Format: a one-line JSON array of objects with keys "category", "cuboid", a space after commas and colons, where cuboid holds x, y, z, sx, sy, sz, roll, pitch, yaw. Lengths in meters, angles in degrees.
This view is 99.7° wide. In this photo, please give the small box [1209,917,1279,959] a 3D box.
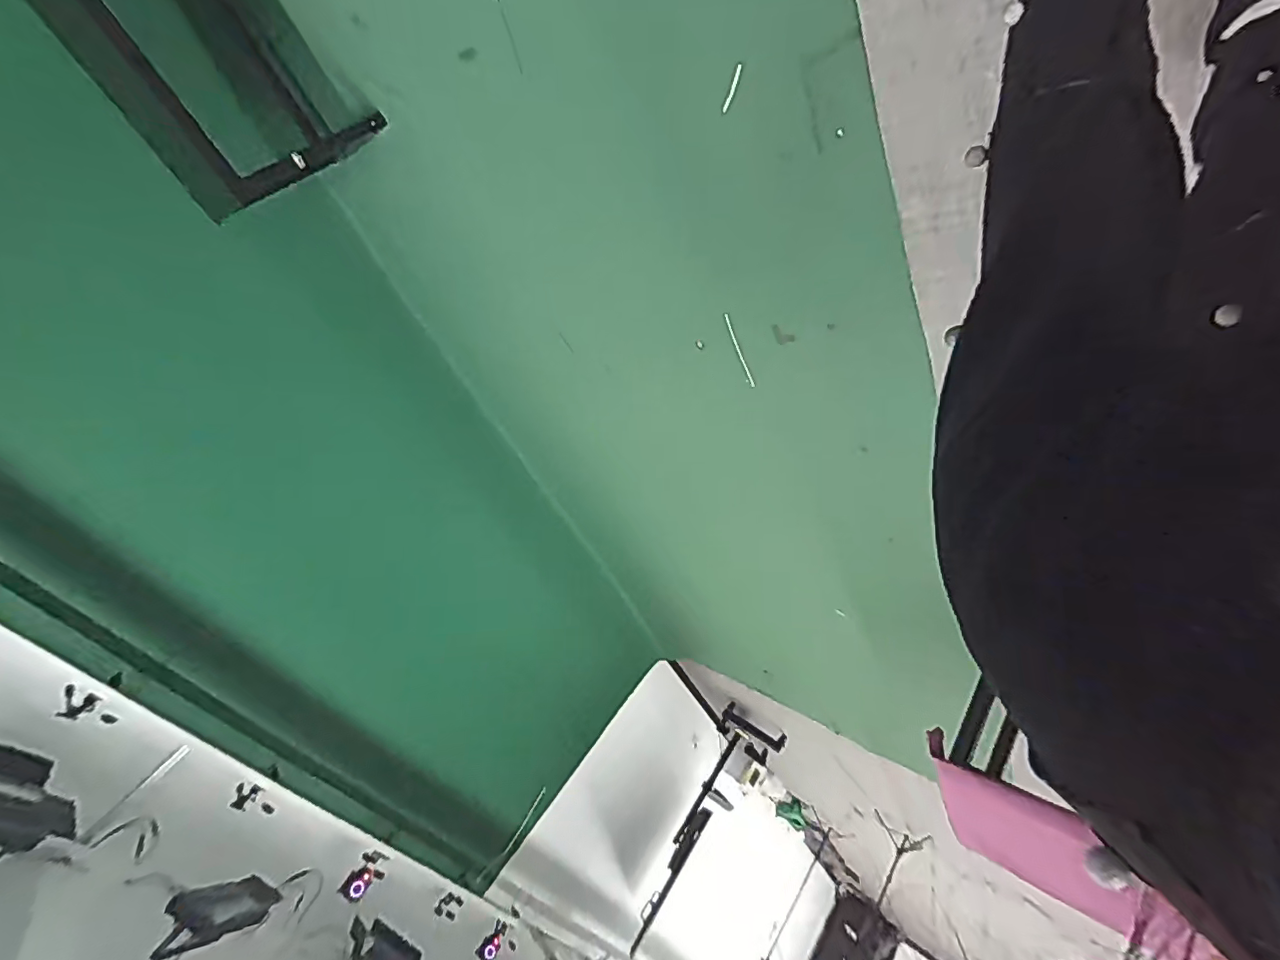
[{"category": "small box", "cuboid": [1.424, 1.151, 1.231, 0.168, 0.176, 0.179, 13, 141, 47]}]
